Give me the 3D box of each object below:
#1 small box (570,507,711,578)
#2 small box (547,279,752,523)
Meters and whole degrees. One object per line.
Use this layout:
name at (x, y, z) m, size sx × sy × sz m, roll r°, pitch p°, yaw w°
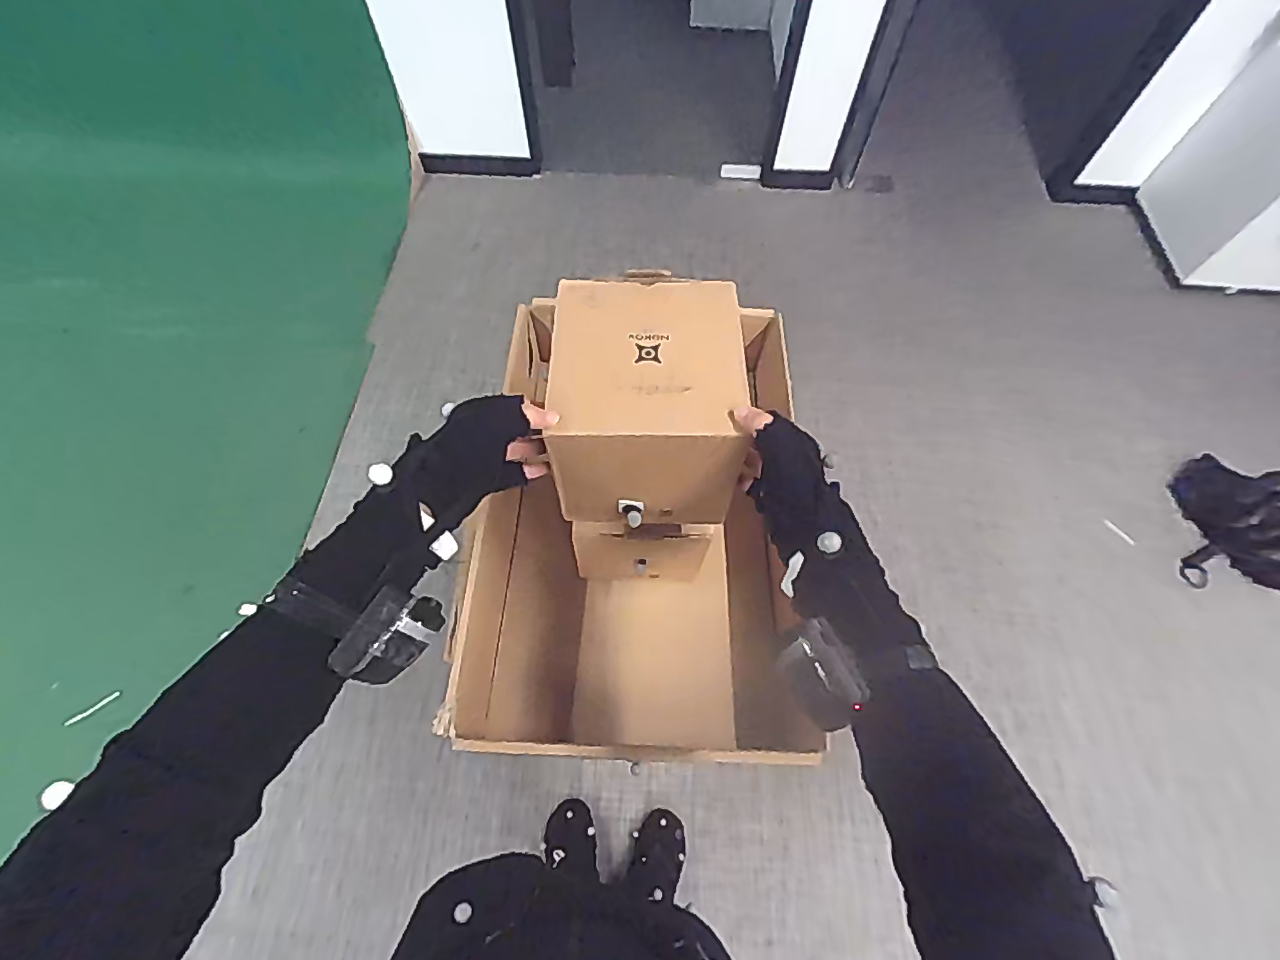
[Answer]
small box at (0.002, 0.026, 0.726) m, size 0.168 × 0.176 × 0.179 m, roll 2°, pitch 62°, yaw -2°
small box at (0.007, -0.071, 0.533) m, size 0.168 × 0.176 × 0.179 m, roll 0°, pitch 63°, yaw 0°
